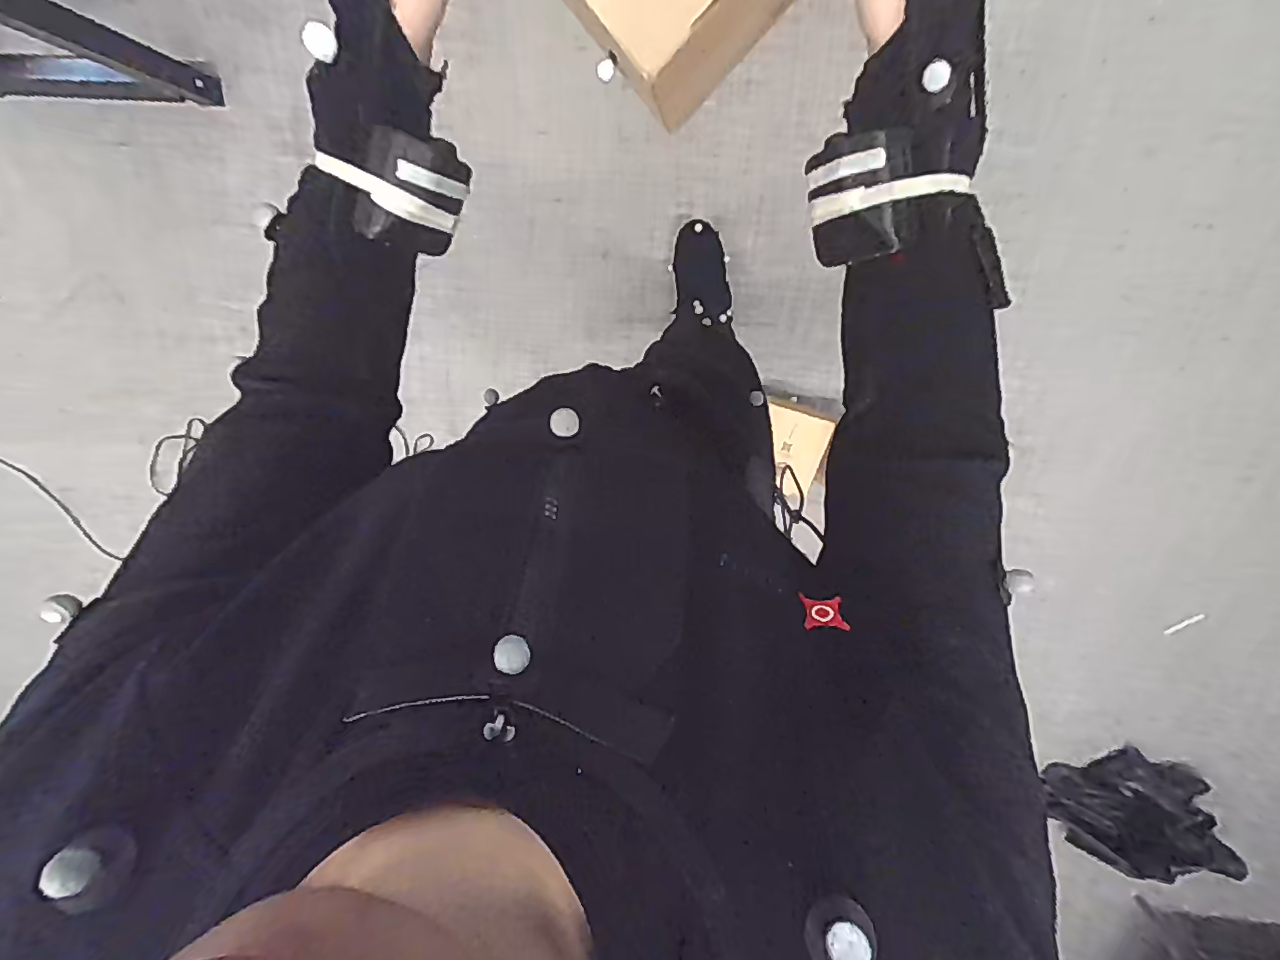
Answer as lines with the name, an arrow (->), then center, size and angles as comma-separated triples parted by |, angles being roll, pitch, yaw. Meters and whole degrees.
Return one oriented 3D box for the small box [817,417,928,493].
small box -> 0.526, -0.041, 1.251 | 0.168, 0.176, 0.179 | 8, 108, 1
